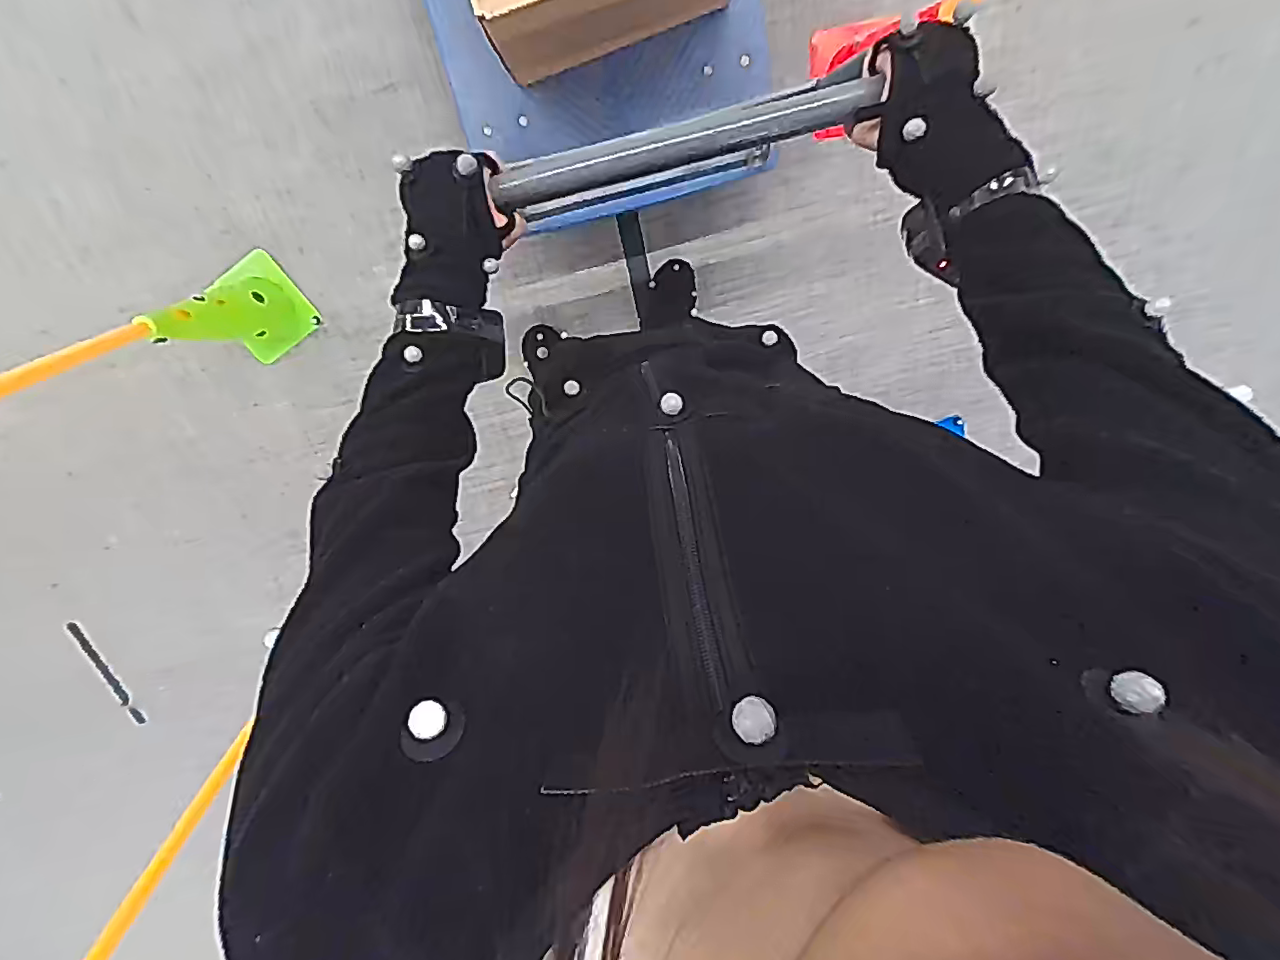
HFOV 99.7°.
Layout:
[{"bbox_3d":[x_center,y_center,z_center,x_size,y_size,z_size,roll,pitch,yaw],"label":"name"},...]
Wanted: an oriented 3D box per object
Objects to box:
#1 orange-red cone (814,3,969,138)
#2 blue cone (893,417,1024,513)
[{"bbox_3d":[0.479,-0.779,0.988,0.199,0.360,0.198,-7,113,-1],"label":"orange-red cone"},{"bbox_3d":[0.807,-0.004,1.338,0.193,0.380,0.192,-17,111,4],"label":"blue cone"}]
